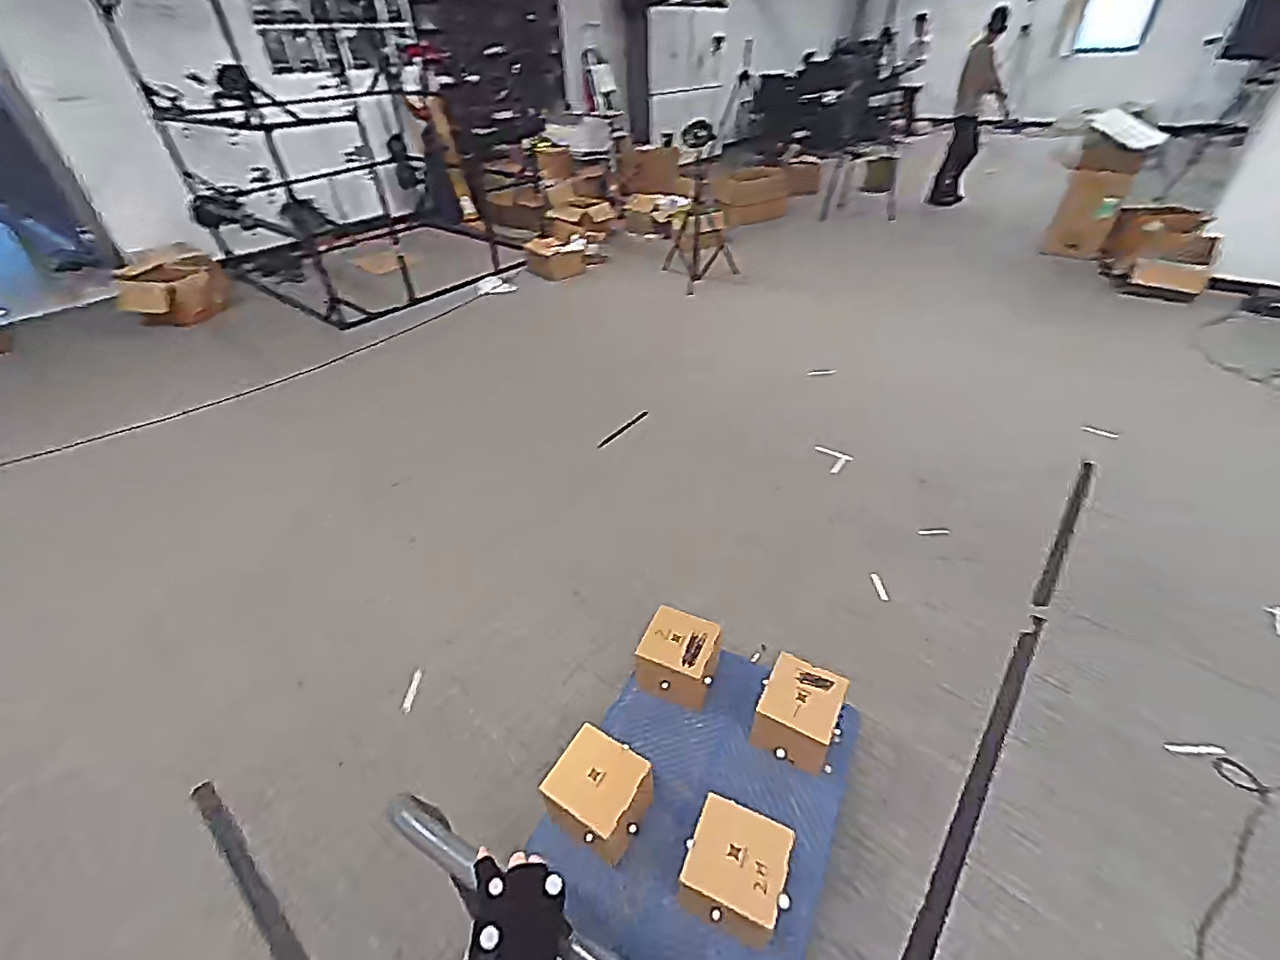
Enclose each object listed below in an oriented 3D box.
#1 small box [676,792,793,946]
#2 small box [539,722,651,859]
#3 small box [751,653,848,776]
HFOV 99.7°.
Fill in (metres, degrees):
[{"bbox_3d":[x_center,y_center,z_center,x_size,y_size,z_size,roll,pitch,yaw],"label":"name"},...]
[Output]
[{"bbox_3d":[0.180,0.757,1.050,0.179,0.176,0.168,16,43,21],"label":"small box"},{"bbox_3d":[-0.092,0.673,1.170,0.179,0.176,0.168,22,44,25],"label":"small box"},{"bbox_3d":[0.374,0.557,1.287,0.168,0.176,0.179,19,45,25],"label":"small box"}]
